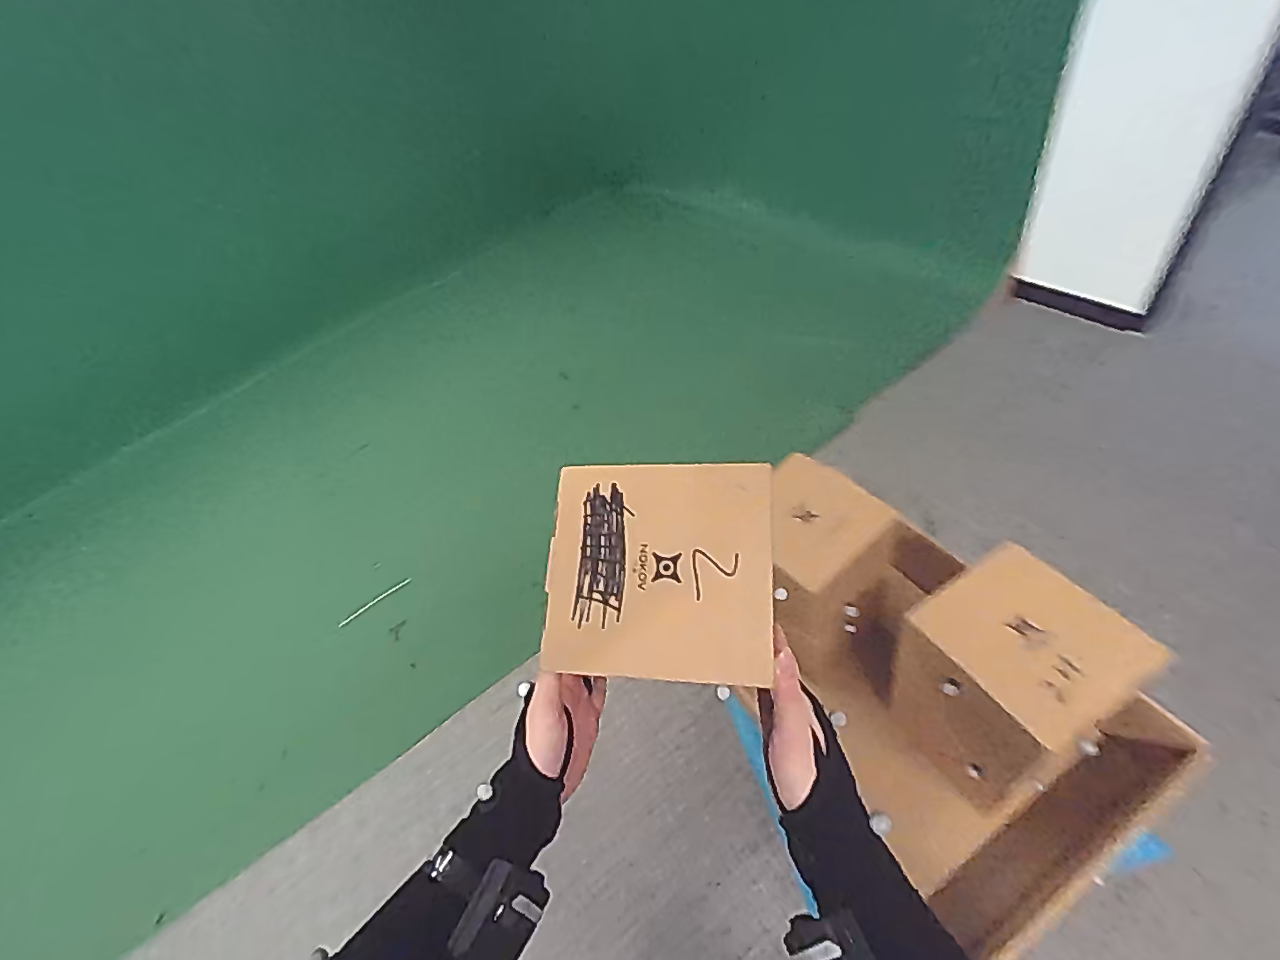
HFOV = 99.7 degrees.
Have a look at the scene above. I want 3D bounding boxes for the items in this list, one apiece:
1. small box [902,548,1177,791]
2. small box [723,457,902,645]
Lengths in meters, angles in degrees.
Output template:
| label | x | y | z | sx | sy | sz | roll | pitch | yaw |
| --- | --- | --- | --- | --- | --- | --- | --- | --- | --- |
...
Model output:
| label | x | y | z | sx | sy | sz | roll | pitch | yaw |
| --- | --- | --- | --- | --- | --- | --- | --- | --- | --- |
| small box | 0.433 | 0.220 | 0.626 | 0.168 | 0.176 | 0.179 | -31 | 47 | -8 |
| small box | 0.246 | 0.106 | 0.792 | 0.168 | 0.176 | 0.179 | -37 | 50 | -14 |
